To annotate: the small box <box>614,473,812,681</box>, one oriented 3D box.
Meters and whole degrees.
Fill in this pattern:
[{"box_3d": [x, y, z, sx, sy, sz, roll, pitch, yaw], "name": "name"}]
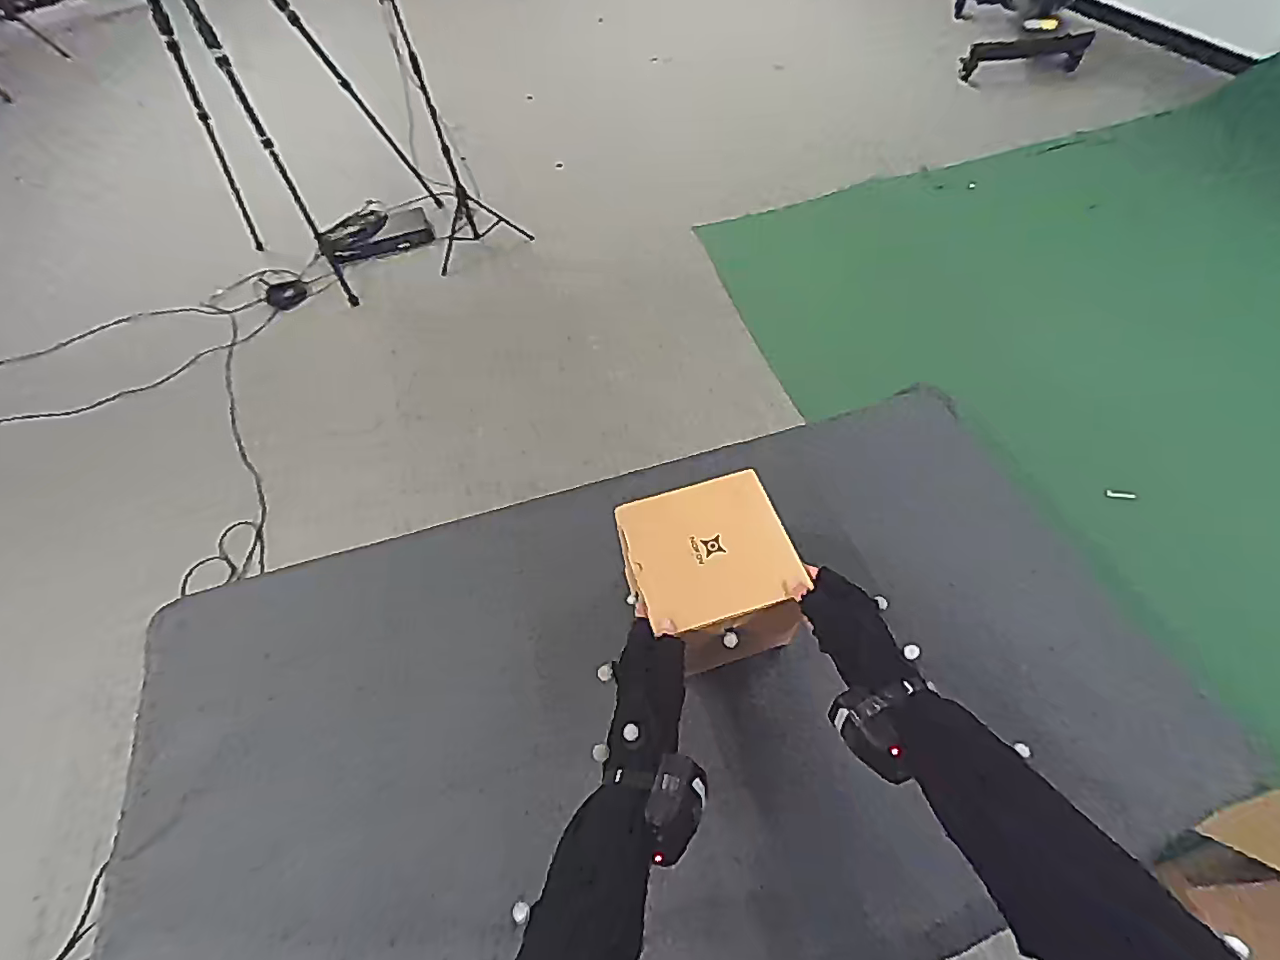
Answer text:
[{"box_3d": [0.078, 0.121, 0.650, 0.179, 0.176, 0.168, -16, 55, -5], "name": "small box"}]
